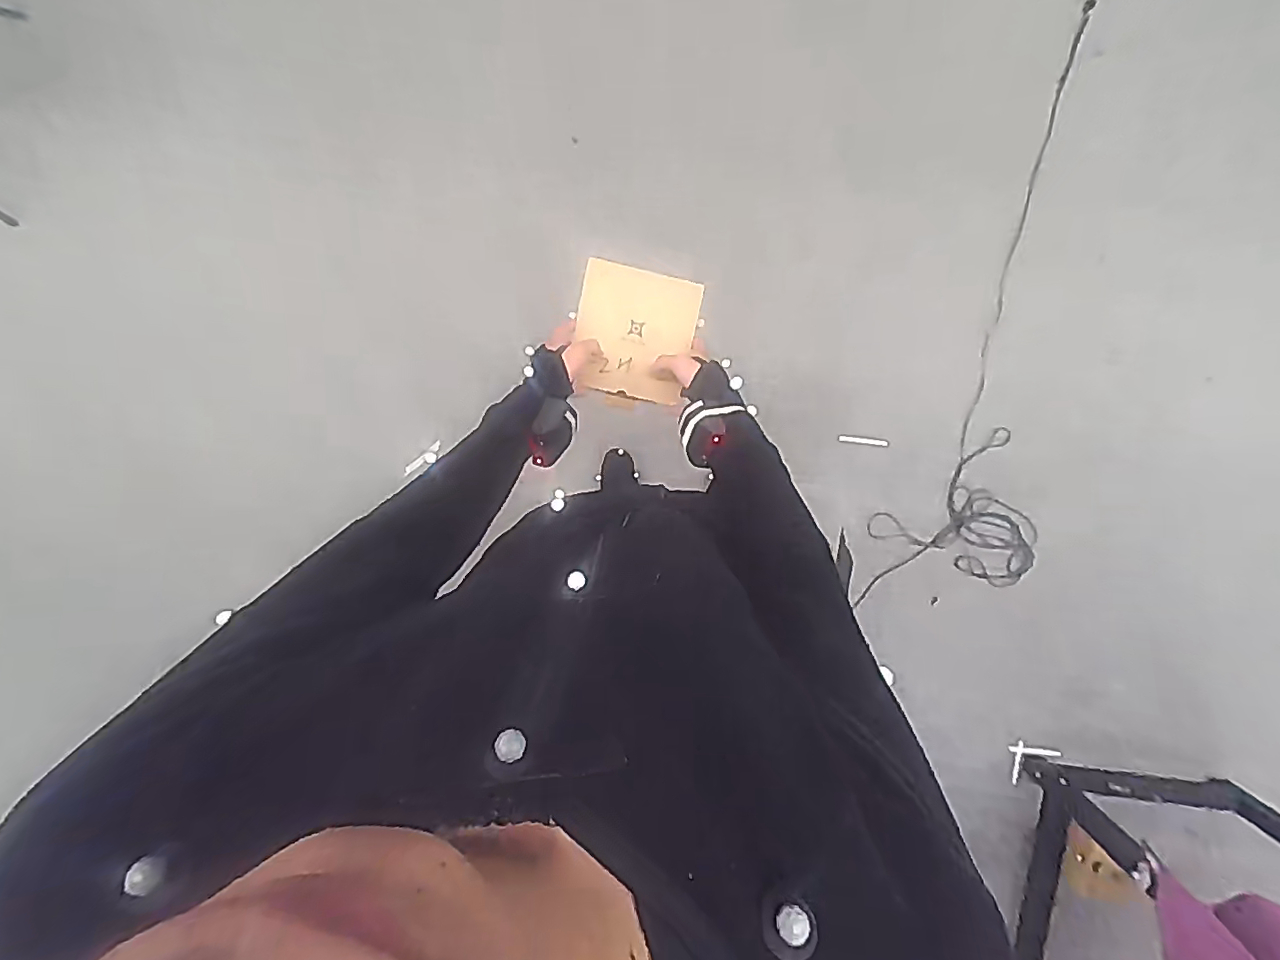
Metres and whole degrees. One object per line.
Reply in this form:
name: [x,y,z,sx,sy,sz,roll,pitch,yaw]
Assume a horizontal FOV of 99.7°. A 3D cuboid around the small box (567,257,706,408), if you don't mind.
small box: [-0.011,-0.215,0.828,0.168,0.176,0.179,12,99,-5]
